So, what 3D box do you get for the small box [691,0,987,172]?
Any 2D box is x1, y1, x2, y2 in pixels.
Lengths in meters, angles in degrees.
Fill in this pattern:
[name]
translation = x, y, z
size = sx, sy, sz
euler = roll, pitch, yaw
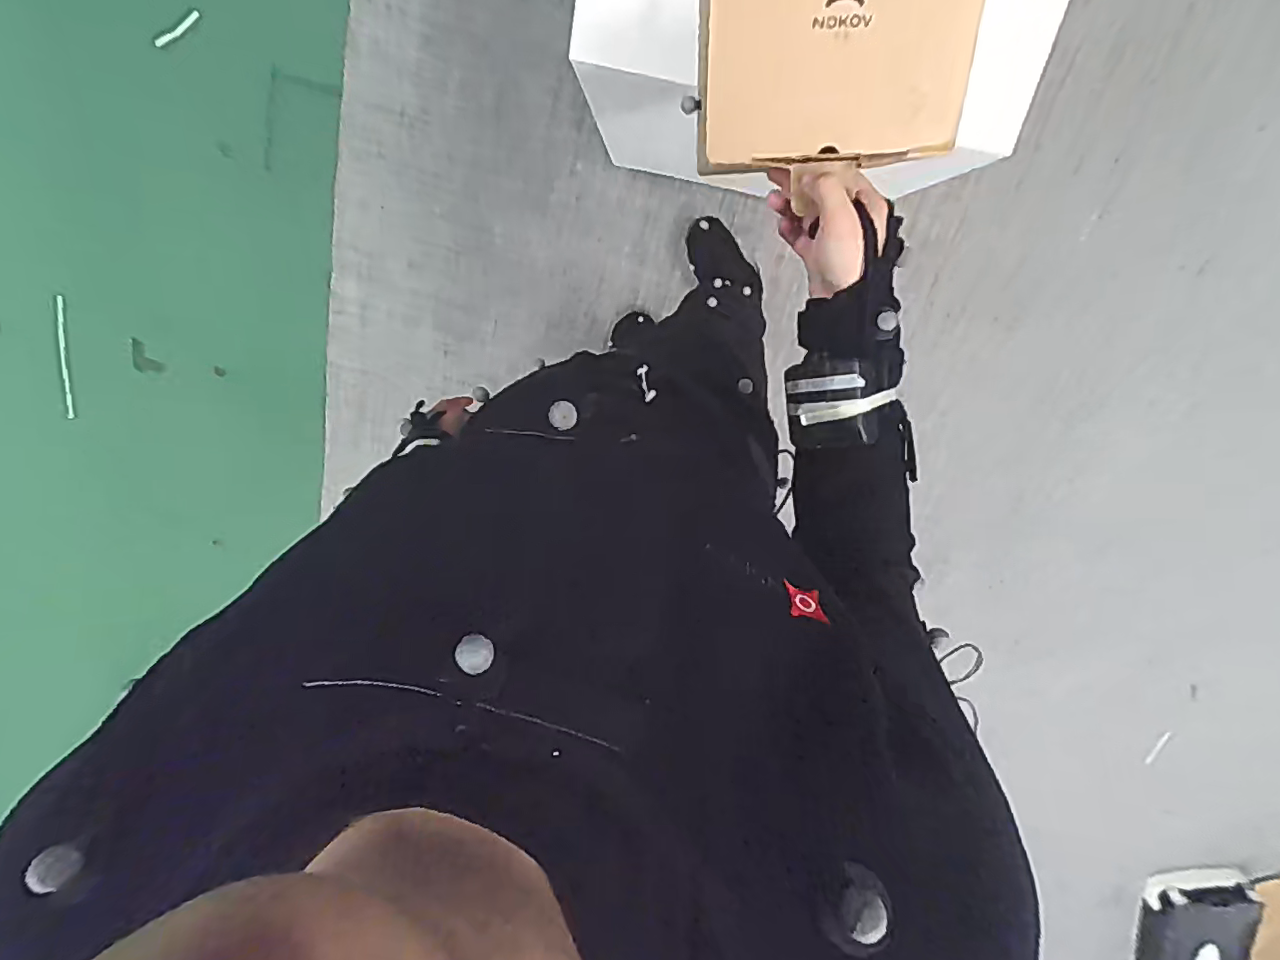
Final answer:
[small box]
translation = 0.126, -0.326, 0.393
size = 0.168, 0.176, 0.179
euler = -1, 117, 2
